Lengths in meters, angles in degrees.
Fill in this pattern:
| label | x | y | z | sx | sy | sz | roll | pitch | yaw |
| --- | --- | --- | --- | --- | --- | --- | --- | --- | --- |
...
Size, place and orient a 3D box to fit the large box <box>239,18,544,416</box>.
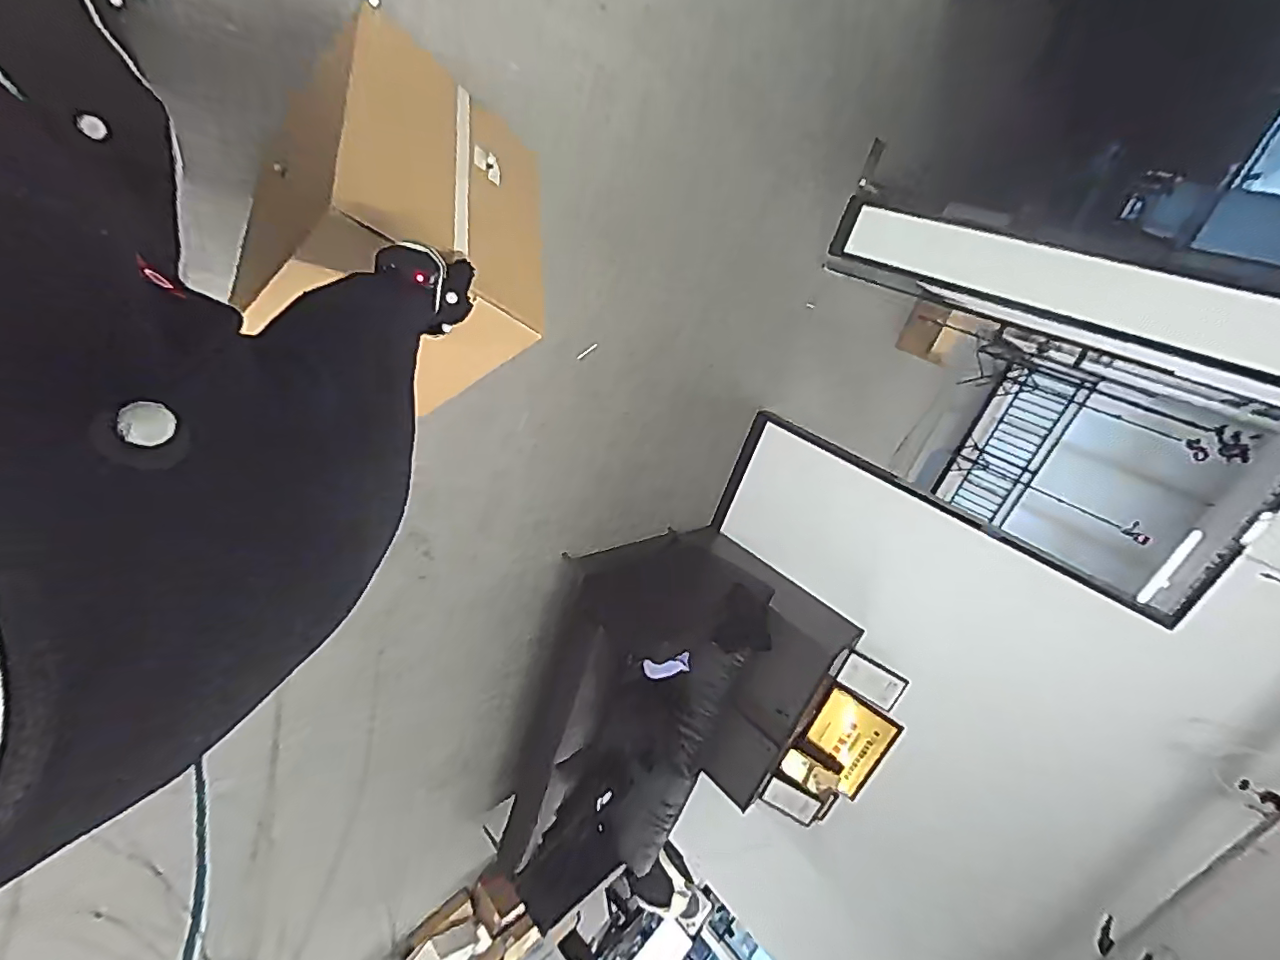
| label | x | y | z | sx | sy | sz | roll | pitch | yaw |
| --- | --- | --- | --- | --- | --- | --- | --- | --- | --- |
| large box | -0.382 | -0.374 | 0.860 | 0.320 | 0.408 | 0.320 | -24 | 152 | 31 |
